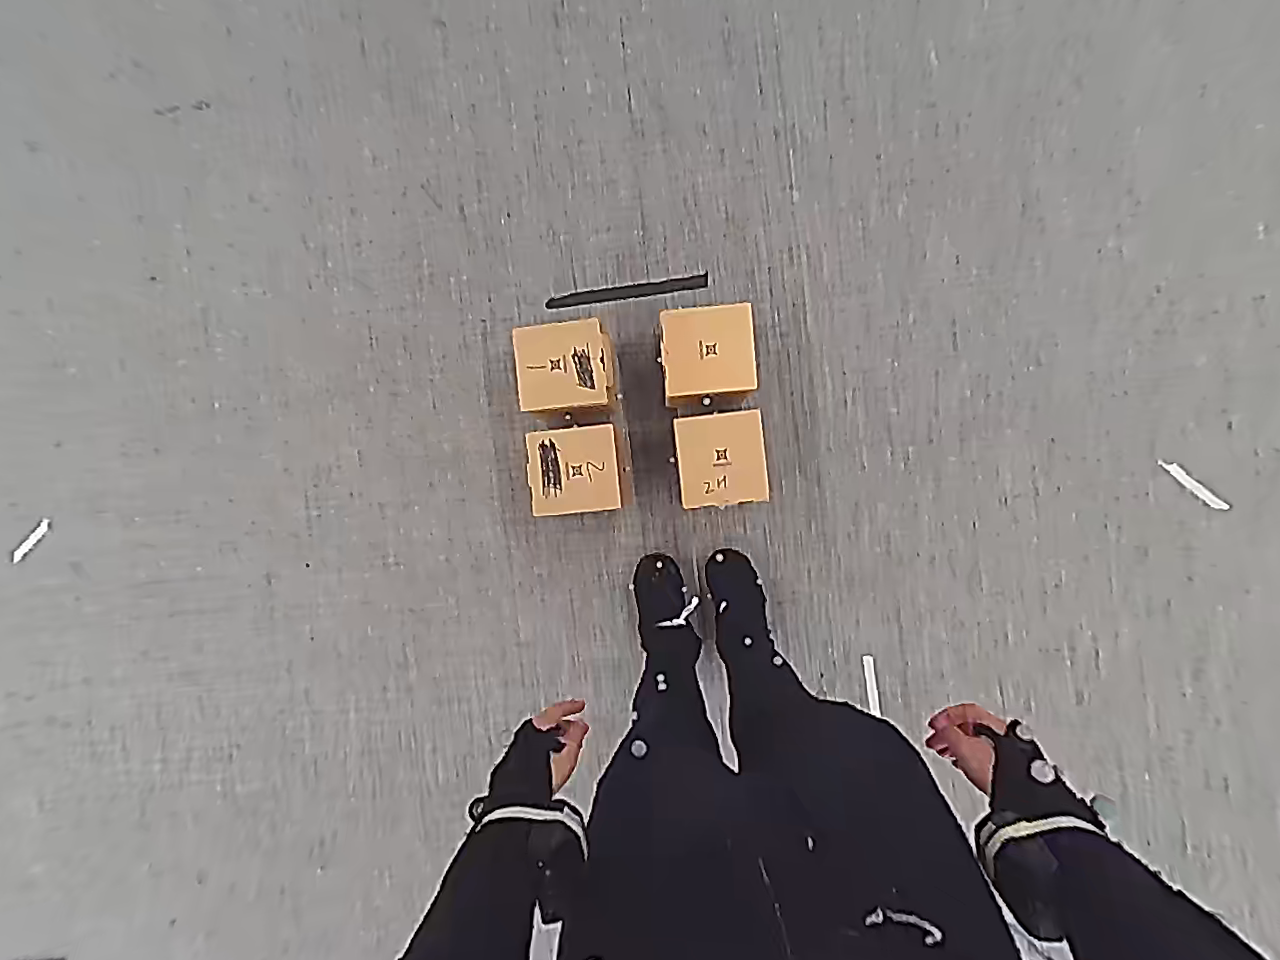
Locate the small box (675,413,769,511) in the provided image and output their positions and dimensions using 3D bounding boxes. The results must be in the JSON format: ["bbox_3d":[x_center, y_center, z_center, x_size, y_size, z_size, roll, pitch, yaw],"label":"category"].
[{"bbox_3d":[0.161,-0.034,1.109,0.168,0.176,0.179,-6,90,4],"label":"small box"}]
